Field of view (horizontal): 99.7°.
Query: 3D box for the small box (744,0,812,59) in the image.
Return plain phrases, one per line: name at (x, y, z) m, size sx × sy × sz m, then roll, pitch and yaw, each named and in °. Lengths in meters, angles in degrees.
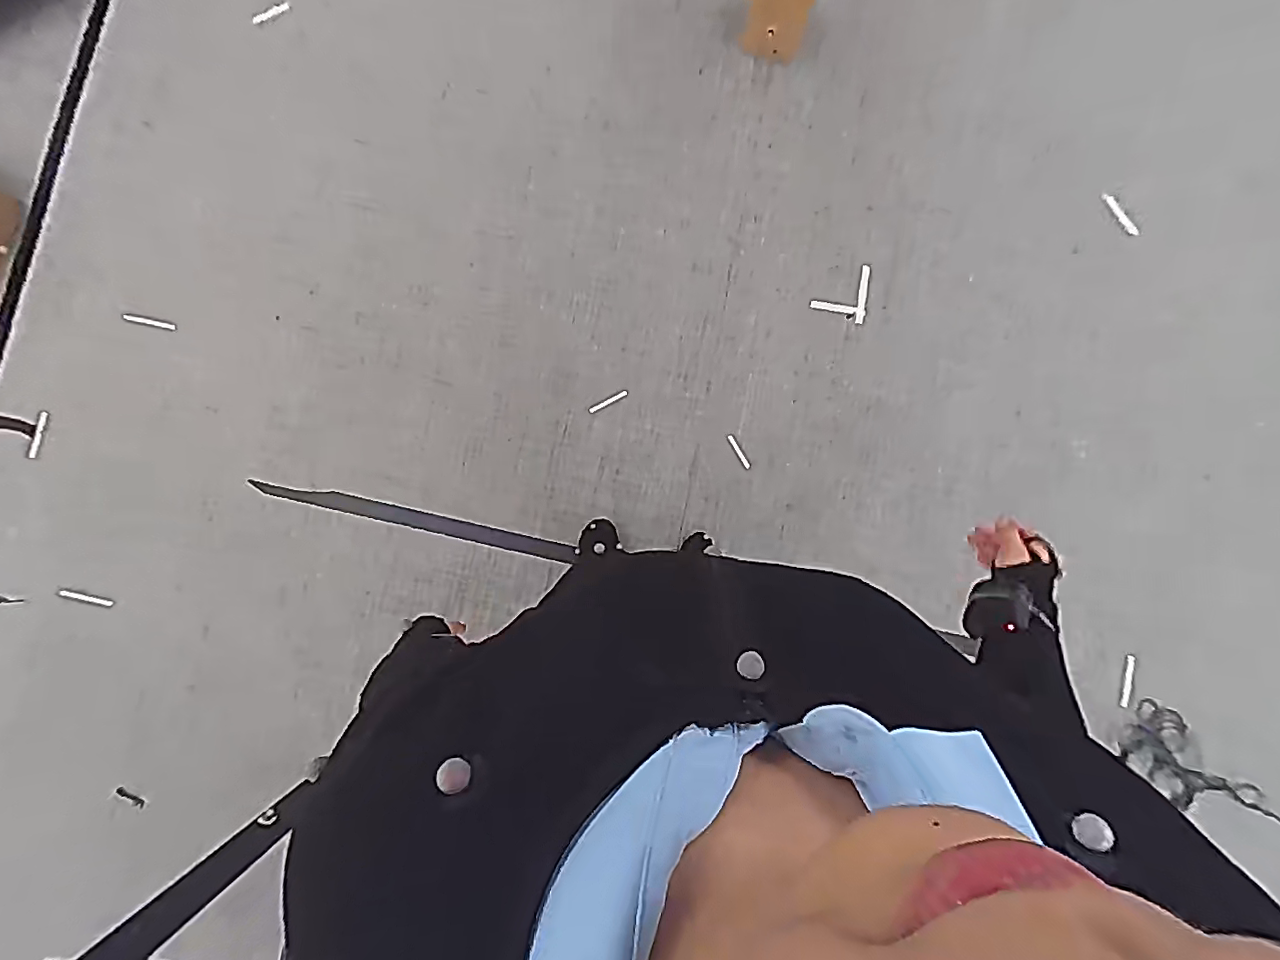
small box at (0.403, -1.359, 1.544) m, size 0.168 × 0.176 × 0.179 m, roll 14°, pitch 85°, yaw 2°
